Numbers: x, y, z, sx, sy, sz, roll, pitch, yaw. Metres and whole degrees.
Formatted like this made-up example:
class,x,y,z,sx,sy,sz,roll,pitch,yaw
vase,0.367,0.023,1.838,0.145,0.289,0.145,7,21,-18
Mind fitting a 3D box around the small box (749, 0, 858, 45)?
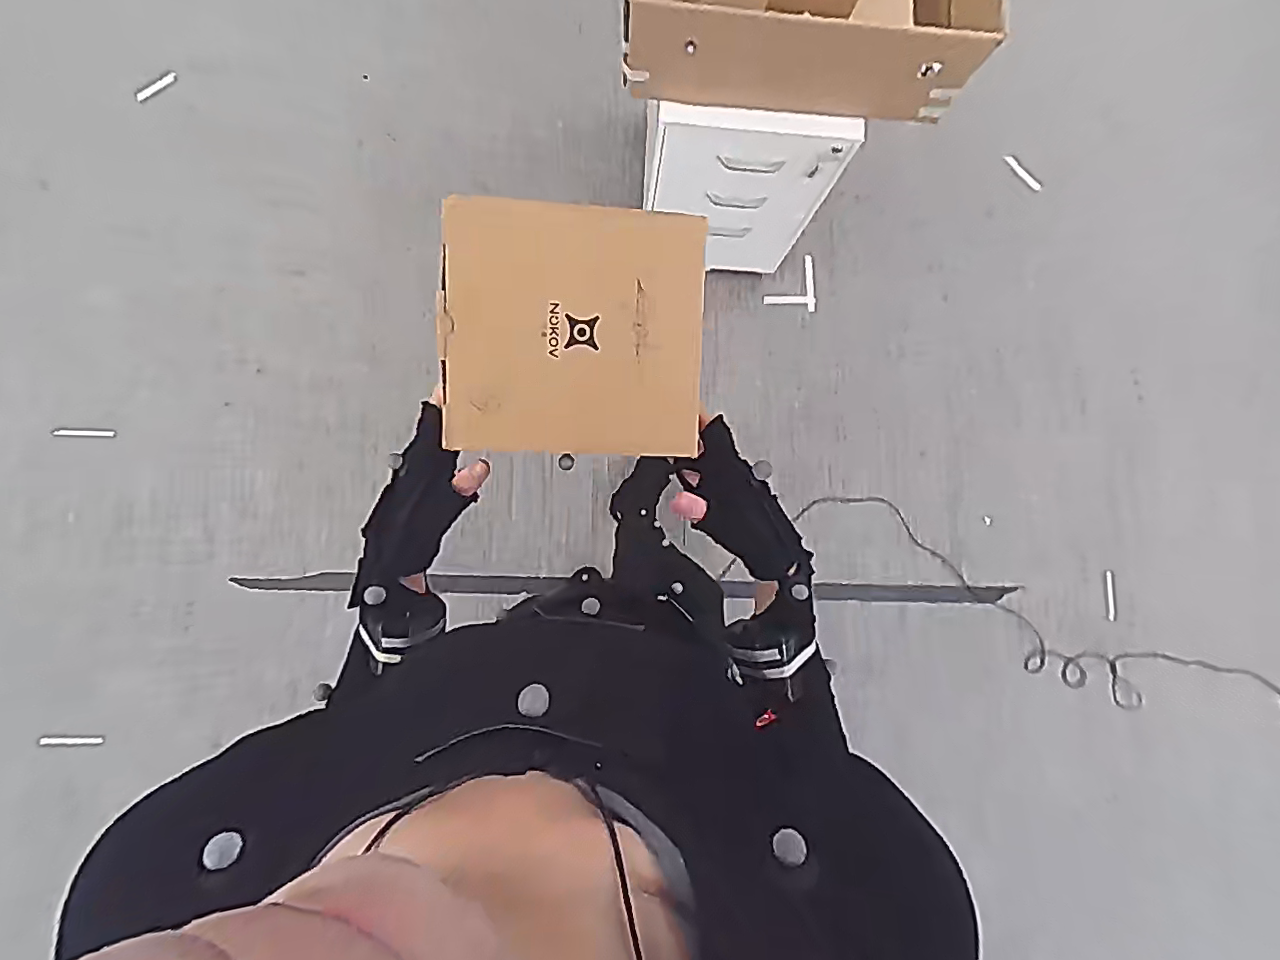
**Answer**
class,x,y,z,sx,sy,sz,roll,pitch,yaw
small box,0.285,-0.896,0.921,0.168,0.176,0.179,-5,87,-4
